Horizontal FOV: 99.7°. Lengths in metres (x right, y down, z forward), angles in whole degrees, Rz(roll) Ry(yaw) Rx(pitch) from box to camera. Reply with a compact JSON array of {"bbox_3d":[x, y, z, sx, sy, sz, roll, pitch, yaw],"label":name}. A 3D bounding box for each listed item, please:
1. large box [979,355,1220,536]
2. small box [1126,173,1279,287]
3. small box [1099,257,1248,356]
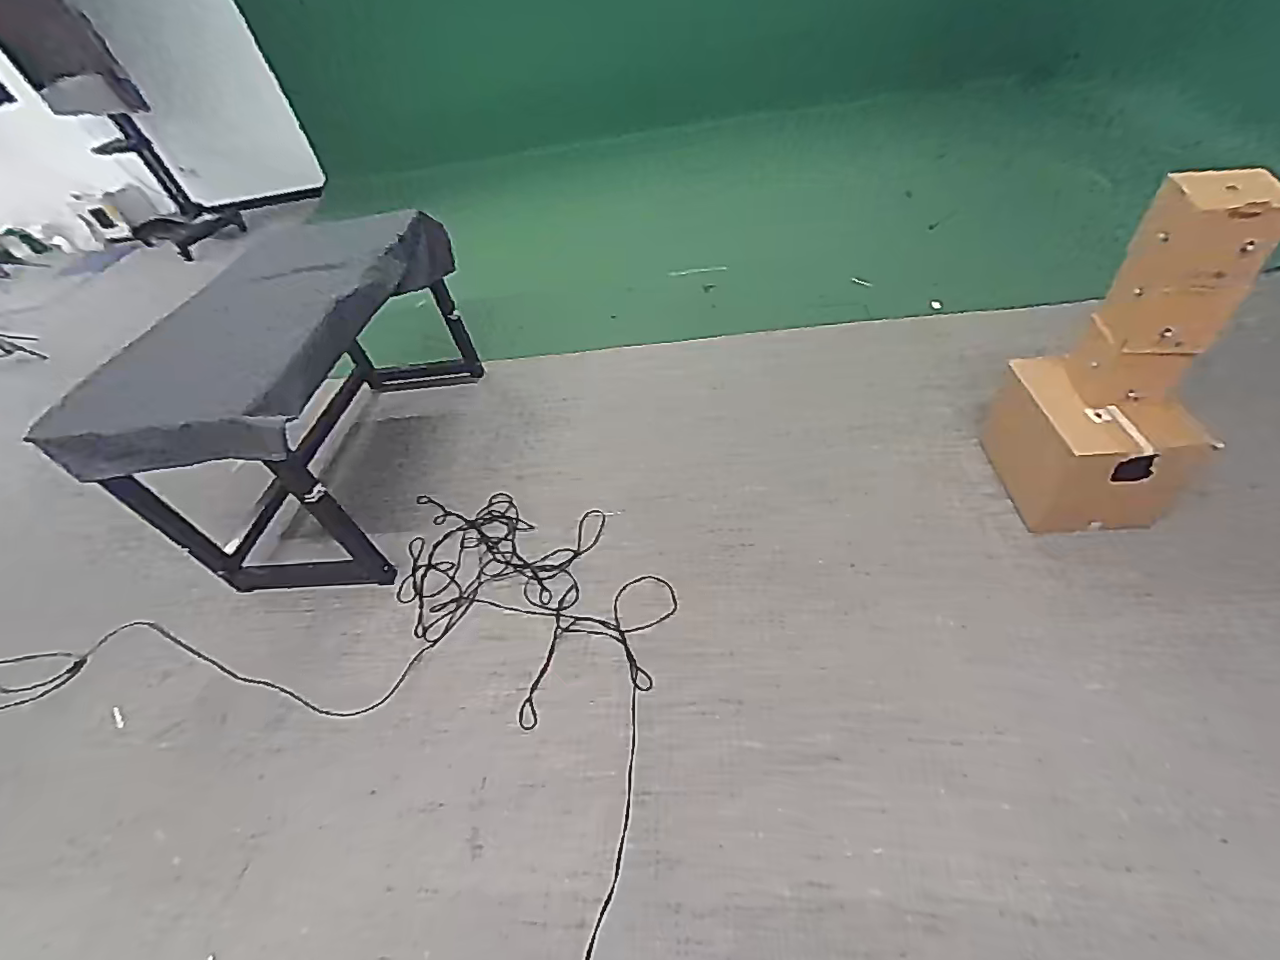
[{"bbox_3d":[1.234,-0.098,1.521,0.320,0.320,0.408,-5,47,9],"label":"large box"},{"bbox_3d":[1.184,-0.521,1.138,0.168,0.176,0.179,6,49,15],"label":"small box"},{"bbox_3d":[1.215,-0.409,1.253,0.168,0.176,0.179,4,49,16],"label":"small box"}]
